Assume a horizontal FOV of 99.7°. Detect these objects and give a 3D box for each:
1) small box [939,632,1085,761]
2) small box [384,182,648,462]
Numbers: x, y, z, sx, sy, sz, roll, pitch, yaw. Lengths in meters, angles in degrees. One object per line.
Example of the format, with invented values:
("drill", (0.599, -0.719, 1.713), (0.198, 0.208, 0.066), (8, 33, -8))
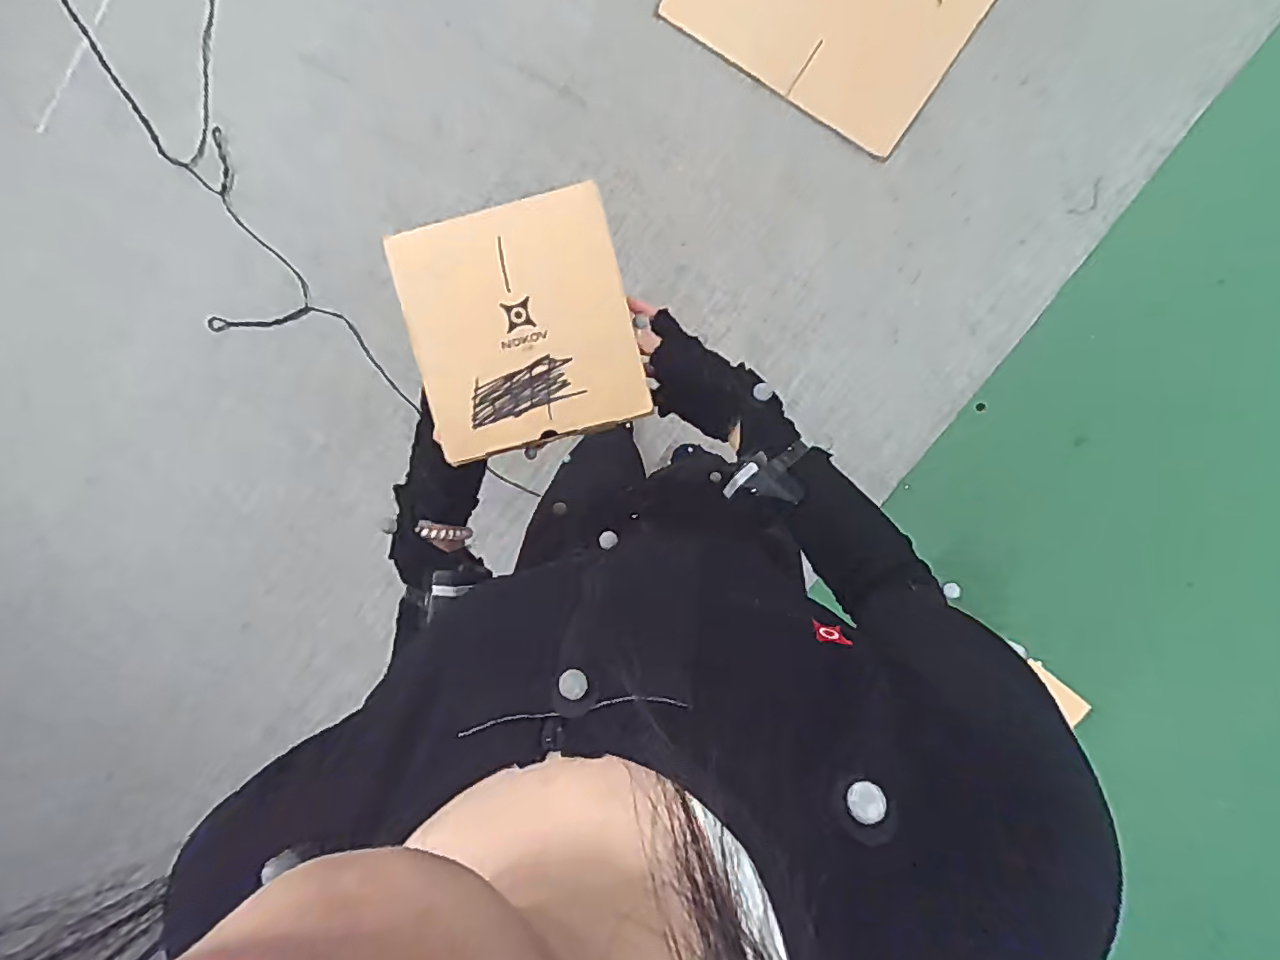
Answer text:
("small box", (0.825, 0.476, 1.221), (0.168, 0.176, 0.179), (39, 96, 0))
("small box", (-0.089, -0.126, 0.485), (0.168, 0.176, 0.179), (-14, 97, 2))
